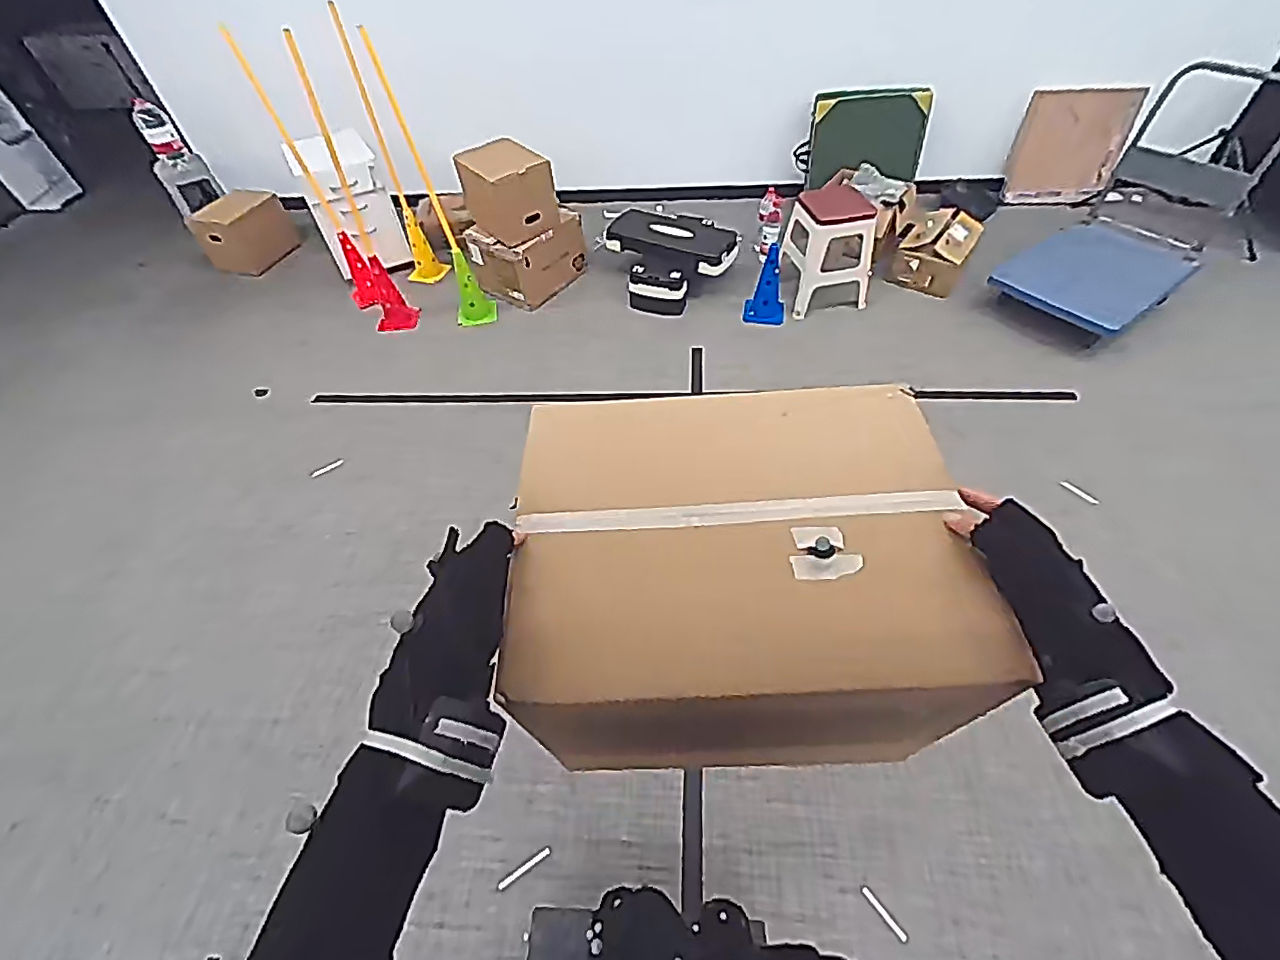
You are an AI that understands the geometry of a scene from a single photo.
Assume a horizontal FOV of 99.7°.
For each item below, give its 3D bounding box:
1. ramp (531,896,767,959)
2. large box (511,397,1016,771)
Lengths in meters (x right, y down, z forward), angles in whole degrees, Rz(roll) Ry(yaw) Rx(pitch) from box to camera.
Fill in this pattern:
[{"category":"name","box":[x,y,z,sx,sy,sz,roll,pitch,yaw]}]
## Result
[{"category":"ramp","box":[0.002,1.339,0.919,0.509,0.206,0.991,0,51,2]},{"category":"large box","box":[0.096,0.131,0.626,0.408,0.320,0.320,-3,53,2]}]
